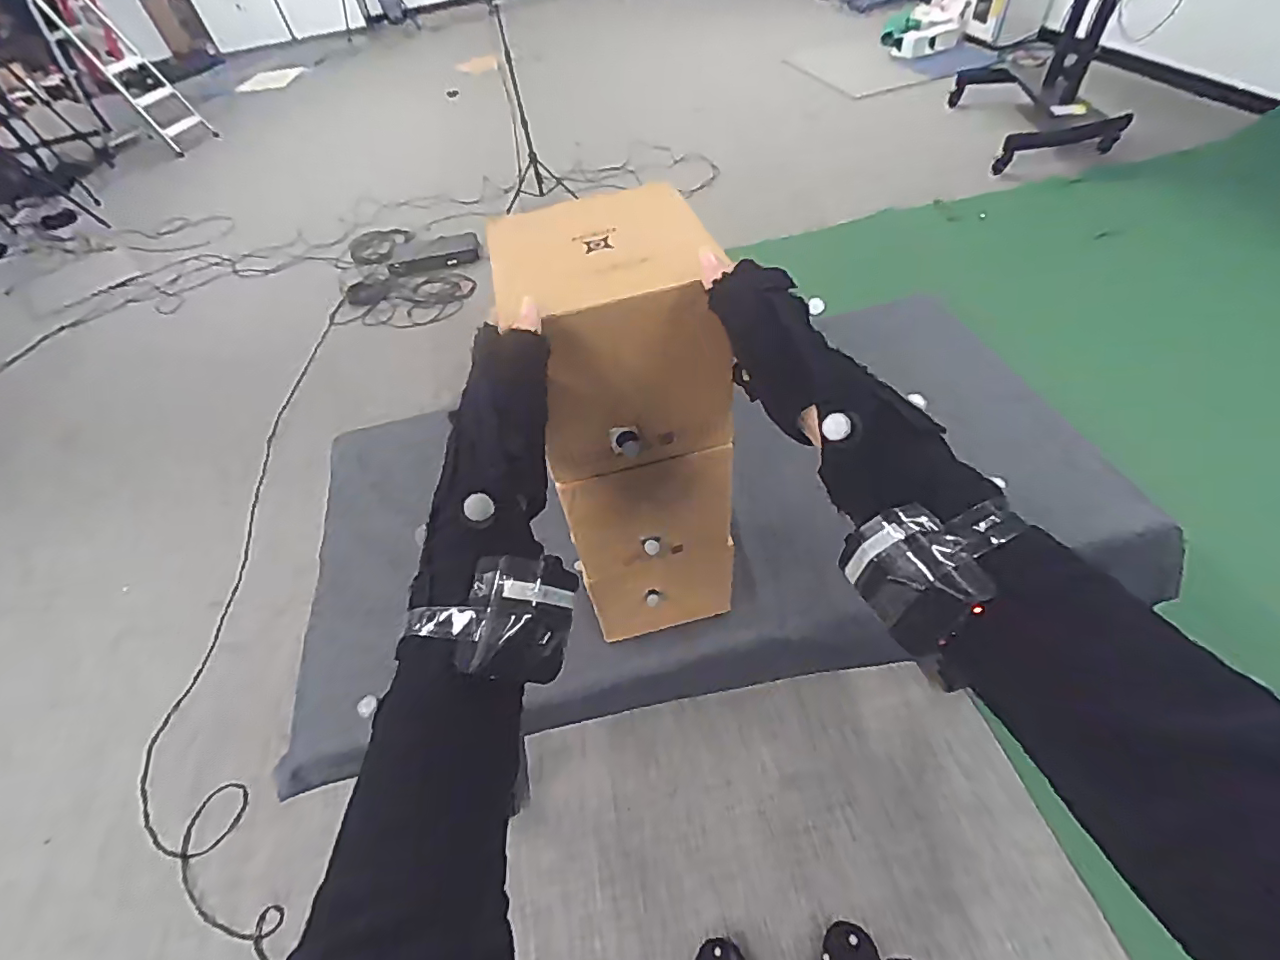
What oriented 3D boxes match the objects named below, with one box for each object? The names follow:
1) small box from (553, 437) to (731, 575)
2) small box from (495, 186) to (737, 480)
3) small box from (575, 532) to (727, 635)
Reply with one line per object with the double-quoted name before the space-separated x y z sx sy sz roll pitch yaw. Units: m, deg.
"small box" -0.006 -0.022 0.601 0.168 0.176 0.179 -13 50 -3
"small box" -0.023 -0.128 0.477 0.168 0.176 0.179 -13 50 -4
"small box" 0.011 0.087 0.723 0.179 0.176 0.168 -14 50 -3
